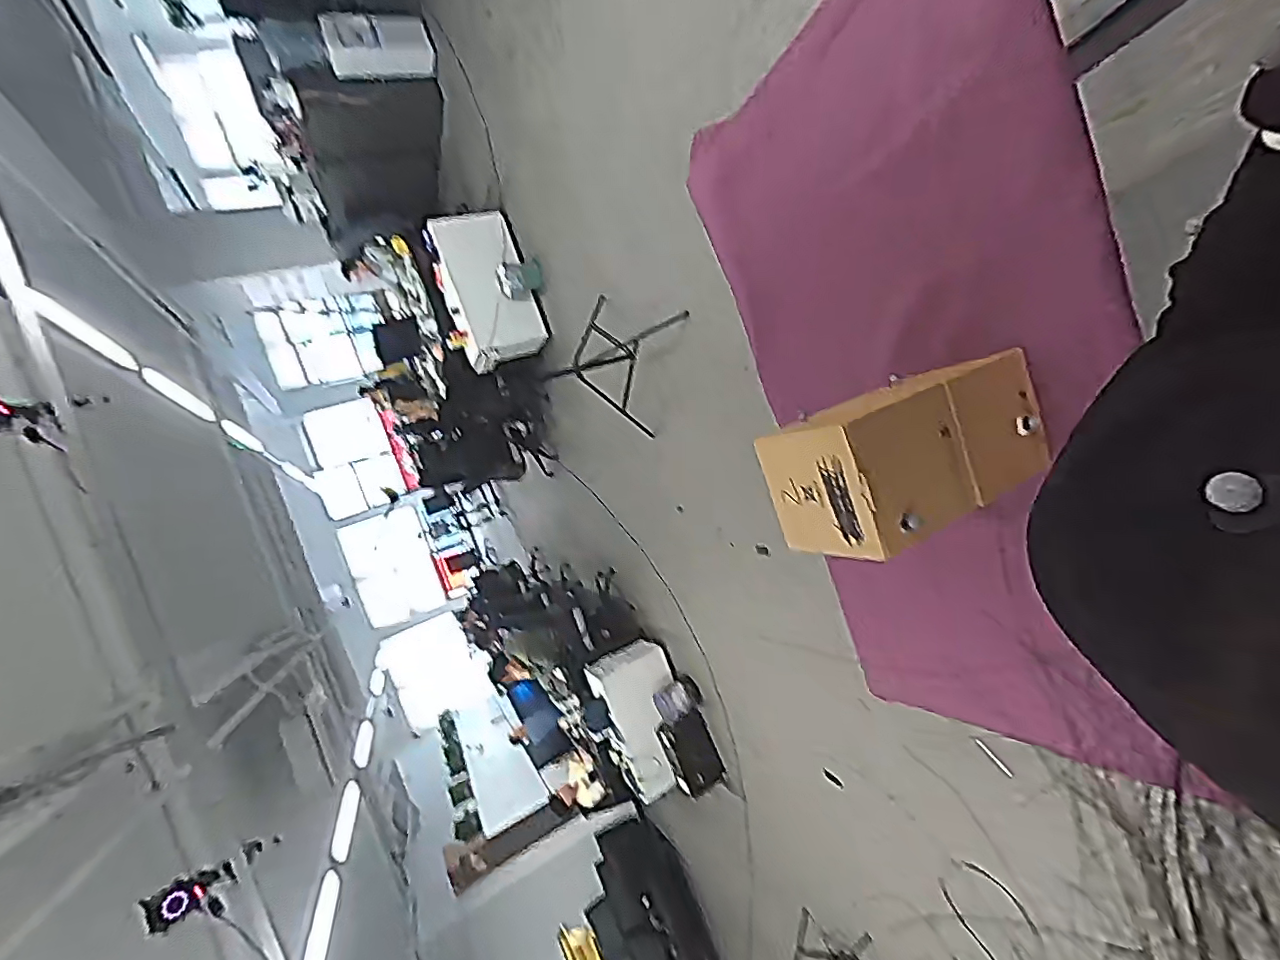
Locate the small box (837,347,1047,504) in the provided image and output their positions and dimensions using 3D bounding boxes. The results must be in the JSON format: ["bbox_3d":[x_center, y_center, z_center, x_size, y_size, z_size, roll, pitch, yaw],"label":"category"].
[{"bbox_3d":[0.422,-0.072,0.765,0.179,0.176,0.168,-9,102,65],"label":"small box"}]
